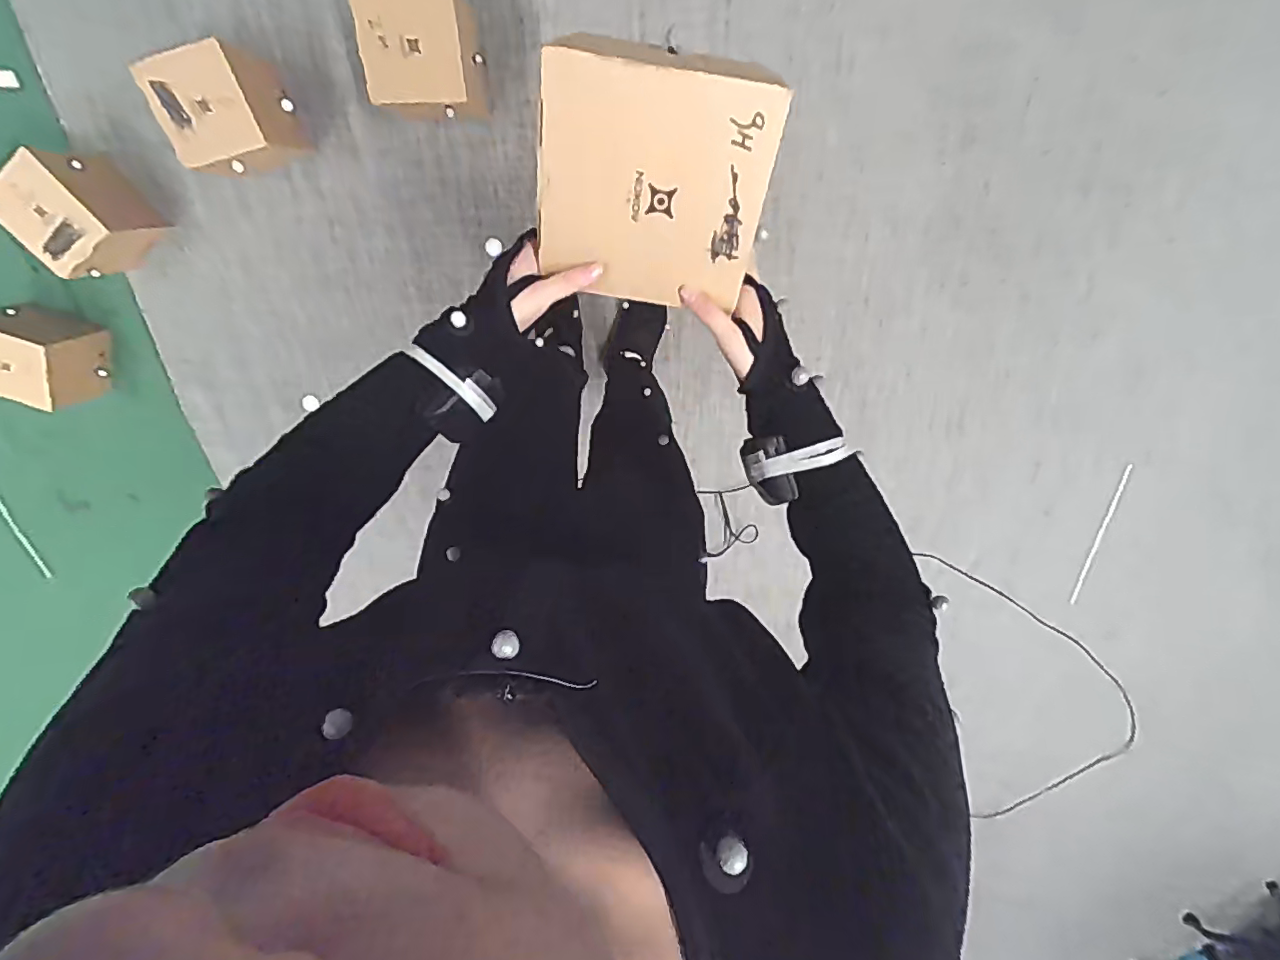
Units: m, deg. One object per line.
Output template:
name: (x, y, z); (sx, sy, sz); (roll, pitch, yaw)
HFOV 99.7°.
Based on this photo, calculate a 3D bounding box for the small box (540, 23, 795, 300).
small box: (0.018, -0.284, 0.479); (0.179, 0.176, 0.168); (9, 132, -1)

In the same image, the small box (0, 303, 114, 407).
small box: (-1.387, -0.296, 1.254); (0.179, 0.176, 0.168); (21, 116, -10)

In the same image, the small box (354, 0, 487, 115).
small box: (-0.389, -0.782, 0.994); (0.179, 0.176, 0.168); (-1, 117, 0)

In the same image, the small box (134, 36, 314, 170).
small box: (-0.777, -0.706, 1.034); (0.179, 0.176, 0.168); (-12, 117, 6)
